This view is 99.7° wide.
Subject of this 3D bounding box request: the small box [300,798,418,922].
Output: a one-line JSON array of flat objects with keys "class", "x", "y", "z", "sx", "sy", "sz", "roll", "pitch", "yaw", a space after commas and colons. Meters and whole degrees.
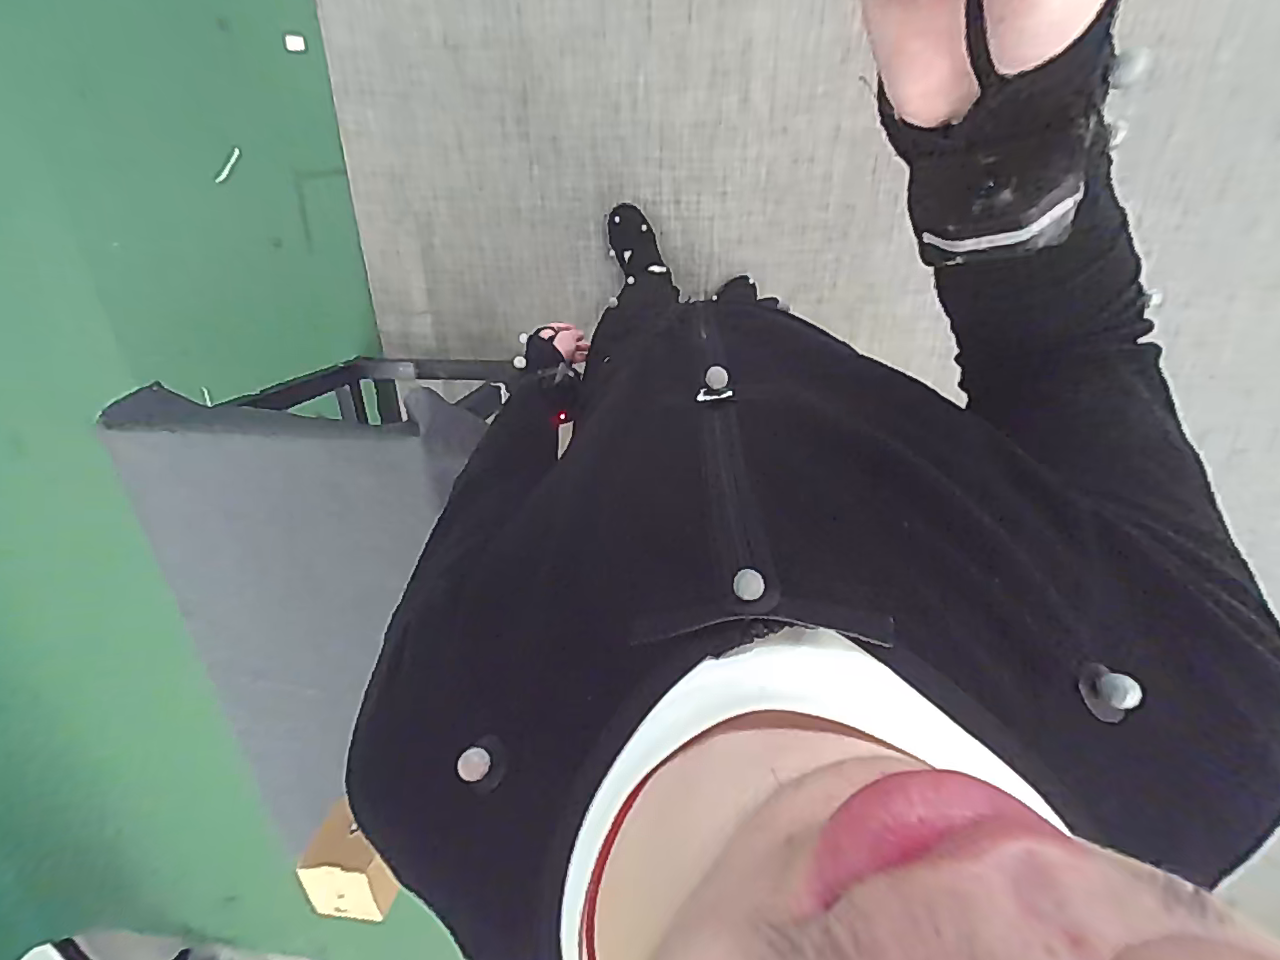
[{"class": "small box", "x": -0.648, "y": 0.883, "z": 1.268, "sx": 0.168, "sy": 0.176, "sz": 0.179, "roll": 2, "pitch": 113, "yaw": 7}]
